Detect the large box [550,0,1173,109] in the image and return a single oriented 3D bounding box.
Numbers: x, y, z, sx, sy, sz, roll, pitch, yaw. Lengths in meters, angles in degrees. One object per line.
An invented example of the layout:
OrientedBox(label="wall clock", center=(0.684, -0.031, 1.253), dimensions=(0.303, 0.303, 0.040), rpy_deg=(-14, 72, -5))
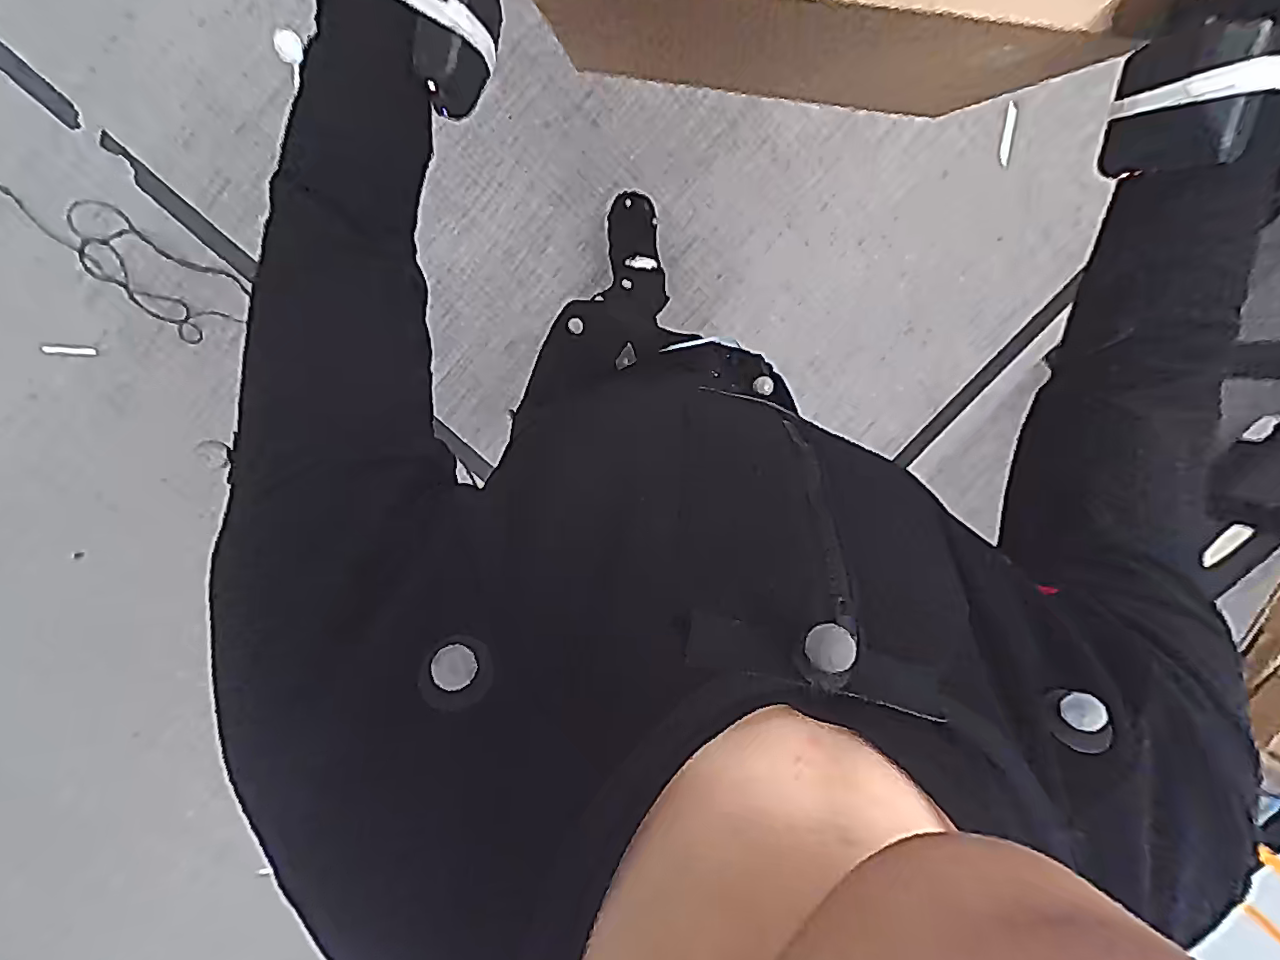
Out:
OrientedBox(label="large box", center=(0.142, -0.496, 0.394), dimensions=(0.408, 0.320, 0.320), rpy_deg=(7, 118, -2))
